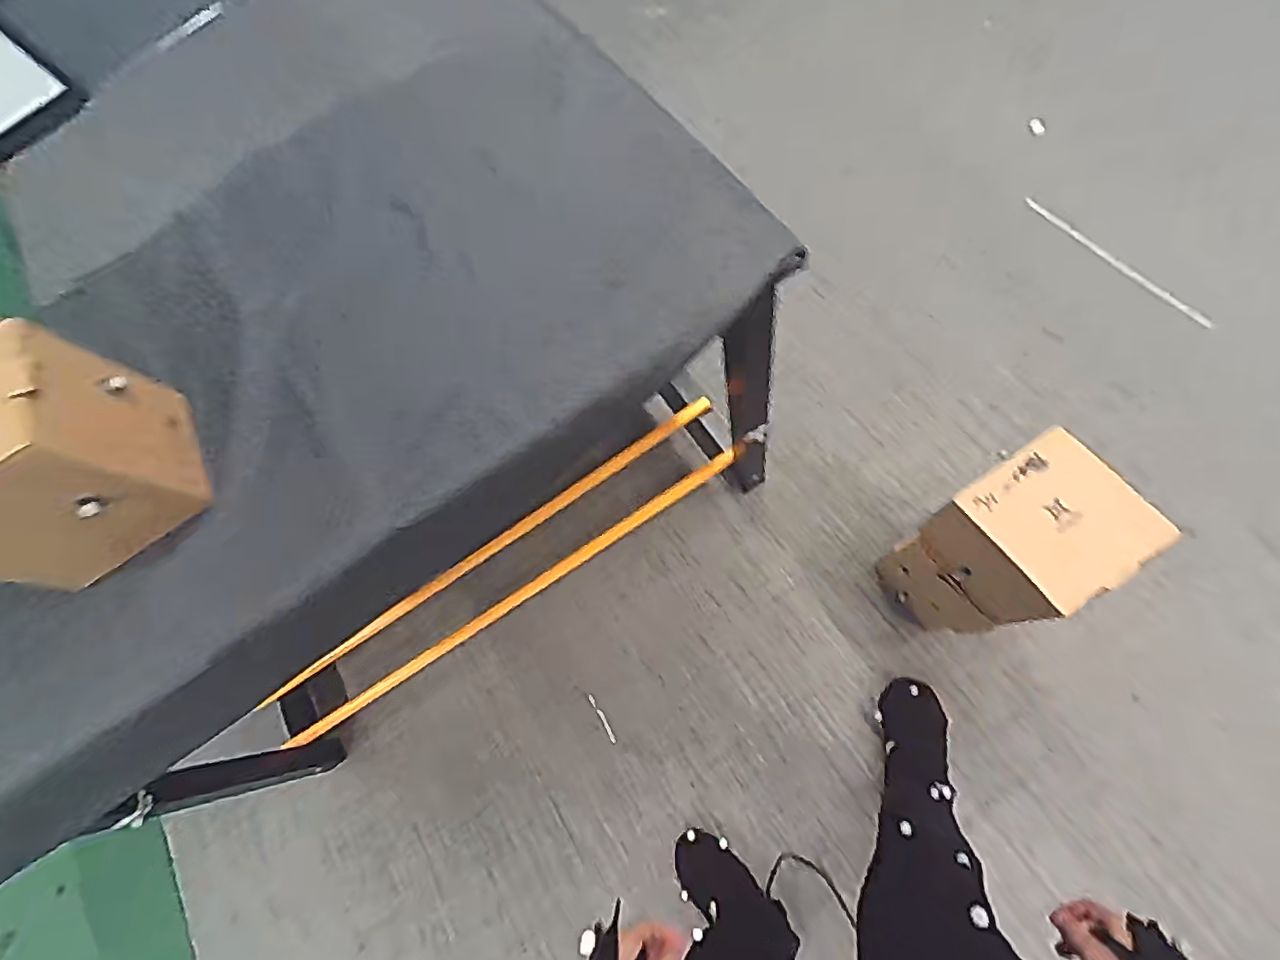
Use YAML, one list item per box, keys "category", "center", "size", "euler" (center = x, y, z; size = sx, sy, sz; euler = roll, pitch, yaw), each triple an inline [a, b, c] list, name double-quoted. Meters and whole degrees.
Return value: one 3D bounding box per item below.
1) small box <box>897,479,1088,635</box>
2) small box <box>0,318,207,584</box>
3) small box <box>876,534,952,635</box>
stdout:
- category: "small box"
  center: [0.544, 0.132, 0.870]
  size: [0.179, 0.176, 0.168]
  euler: [-35, 68, -3]
- category: "small box"
  center: [-0.584, -0.018, 0.544]
  size: [0.179, 0.176, 0.168]
  euler: [-34, 67, -1]
- category: "small box"
  center: [0.582, 0.175, 1.024]
  size: [0.179, 0.176, 0.168]
  euler: [-33, 67, -2]
